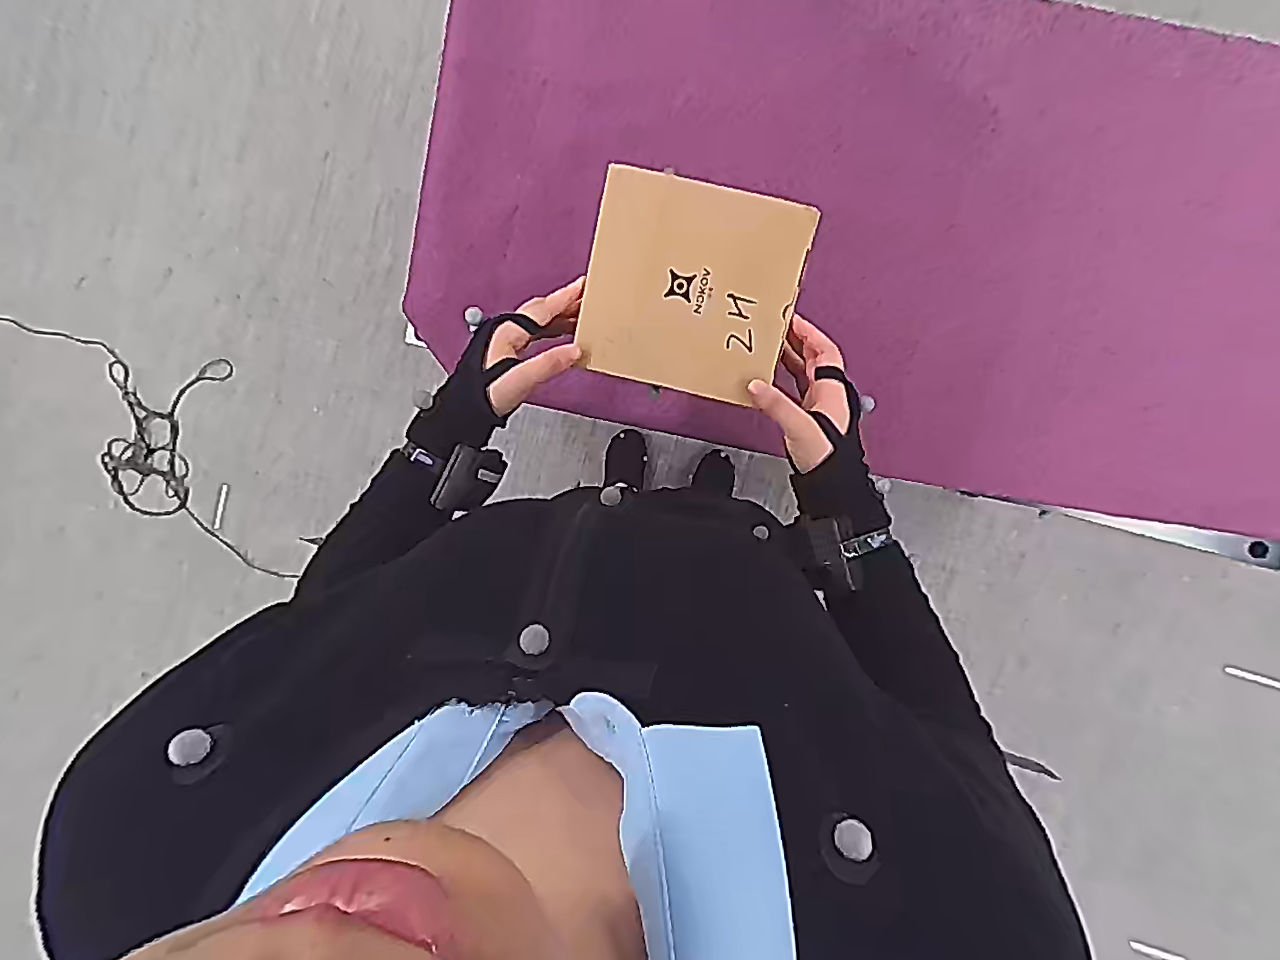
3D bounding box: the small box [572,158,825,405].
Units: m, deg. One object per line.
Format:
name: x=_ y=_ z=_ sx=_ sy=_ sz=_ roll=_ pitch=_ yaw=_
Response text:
small box: x=0.049 y=-0.172 z=0.519 sx=0.179 sy=0.176 sz=0.168 roll=14 pitch=101 yaw=1
